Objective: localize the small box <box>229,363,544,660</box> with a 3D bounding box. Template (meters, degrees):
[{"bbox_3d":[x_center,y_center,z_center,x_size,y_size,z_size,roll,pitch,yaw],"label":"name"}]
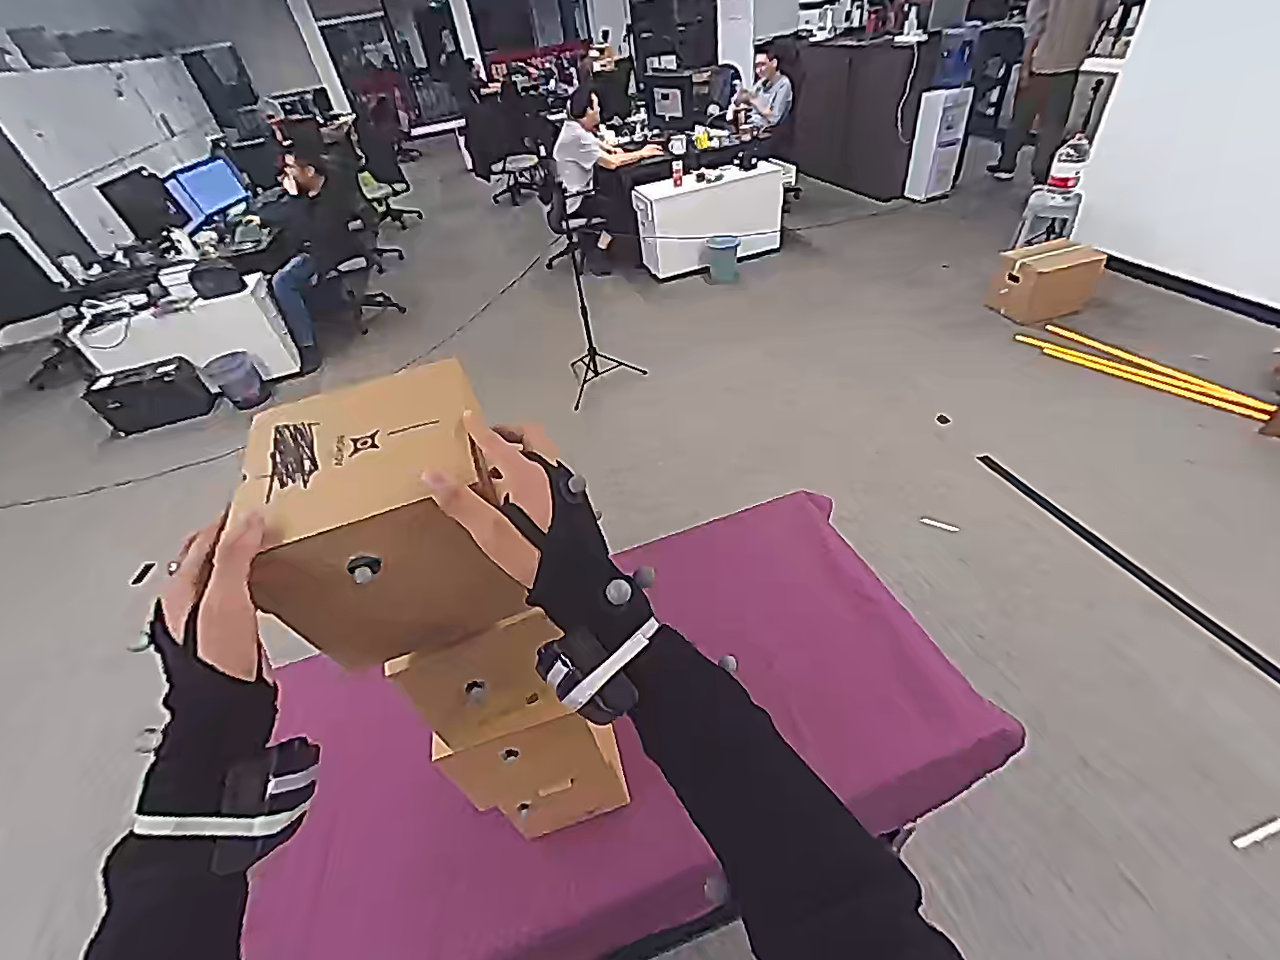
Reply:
[{"bbox_3d":[-0.201,0.030,0.475,0.179,0.176,0.168,-18,47,-7],"label":"small box"}]

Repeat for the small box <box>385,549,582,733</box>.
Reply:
[{"bbox_3d":[-0.179,0.162,0.627,0.168,0.176,0.179,-21,41,-12],"label":"small box"}]

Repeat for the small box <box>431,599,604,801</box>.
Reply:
[{"bbox_3d":[-0.159,0.295,0.720,0.179,0.176,0.168,-15,42,-7],"label":"small box"}]
